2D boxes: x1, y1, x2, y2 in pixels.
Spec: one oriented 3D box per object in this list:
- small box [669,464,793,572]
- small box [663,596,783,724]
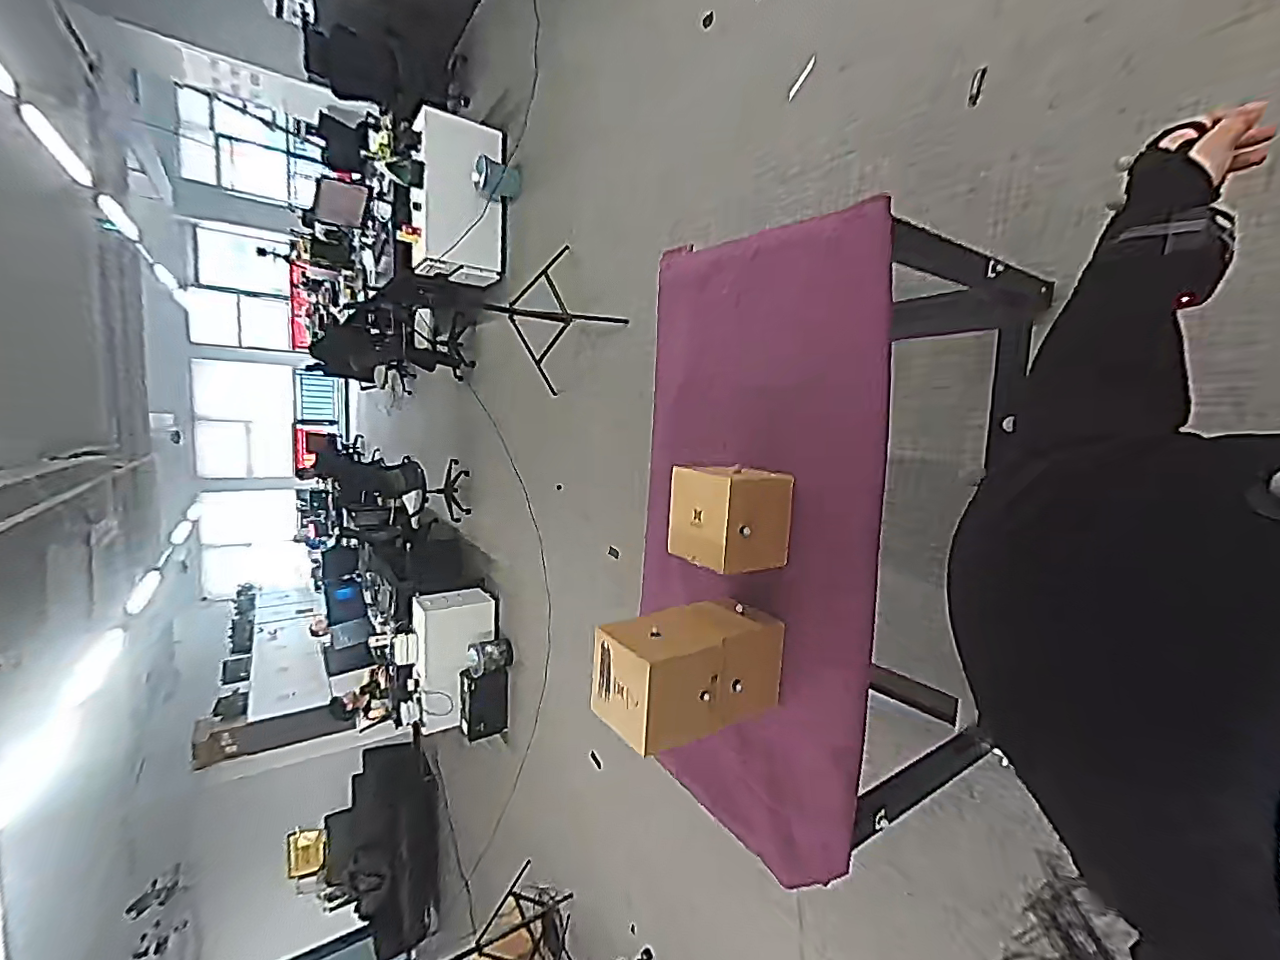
[{"bbox_3d":[0.176,0.063,1.049,0.168,0.176,0.179,14,104,55],"label":"small box"},{"bbox_3d":[0.165,0.346,1.077,0.168,0.176,0.179,13,102,55],"label":"small box"}]
